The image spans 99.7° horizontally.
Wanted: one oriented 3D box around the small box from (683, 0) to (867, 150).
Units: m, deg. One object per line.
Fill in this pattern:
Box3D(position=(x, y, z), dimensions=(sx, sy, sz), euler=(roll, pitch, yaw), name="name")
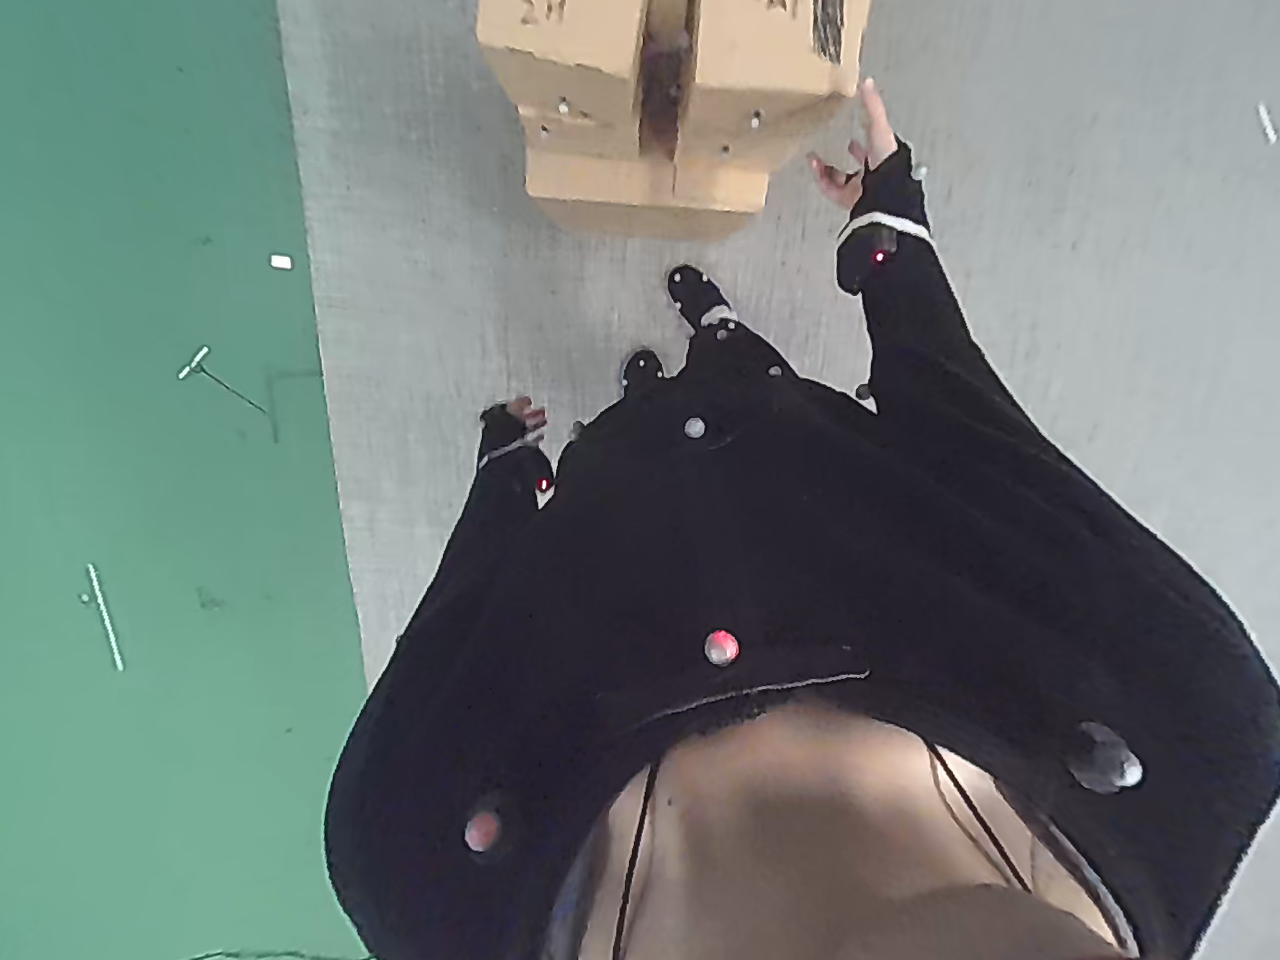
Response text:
Box3D(position=(0.149, -0.509, 0.640), dimensions=(0.179, 0.176, 0.168), euler=(4, 106, 1), name="small box")
